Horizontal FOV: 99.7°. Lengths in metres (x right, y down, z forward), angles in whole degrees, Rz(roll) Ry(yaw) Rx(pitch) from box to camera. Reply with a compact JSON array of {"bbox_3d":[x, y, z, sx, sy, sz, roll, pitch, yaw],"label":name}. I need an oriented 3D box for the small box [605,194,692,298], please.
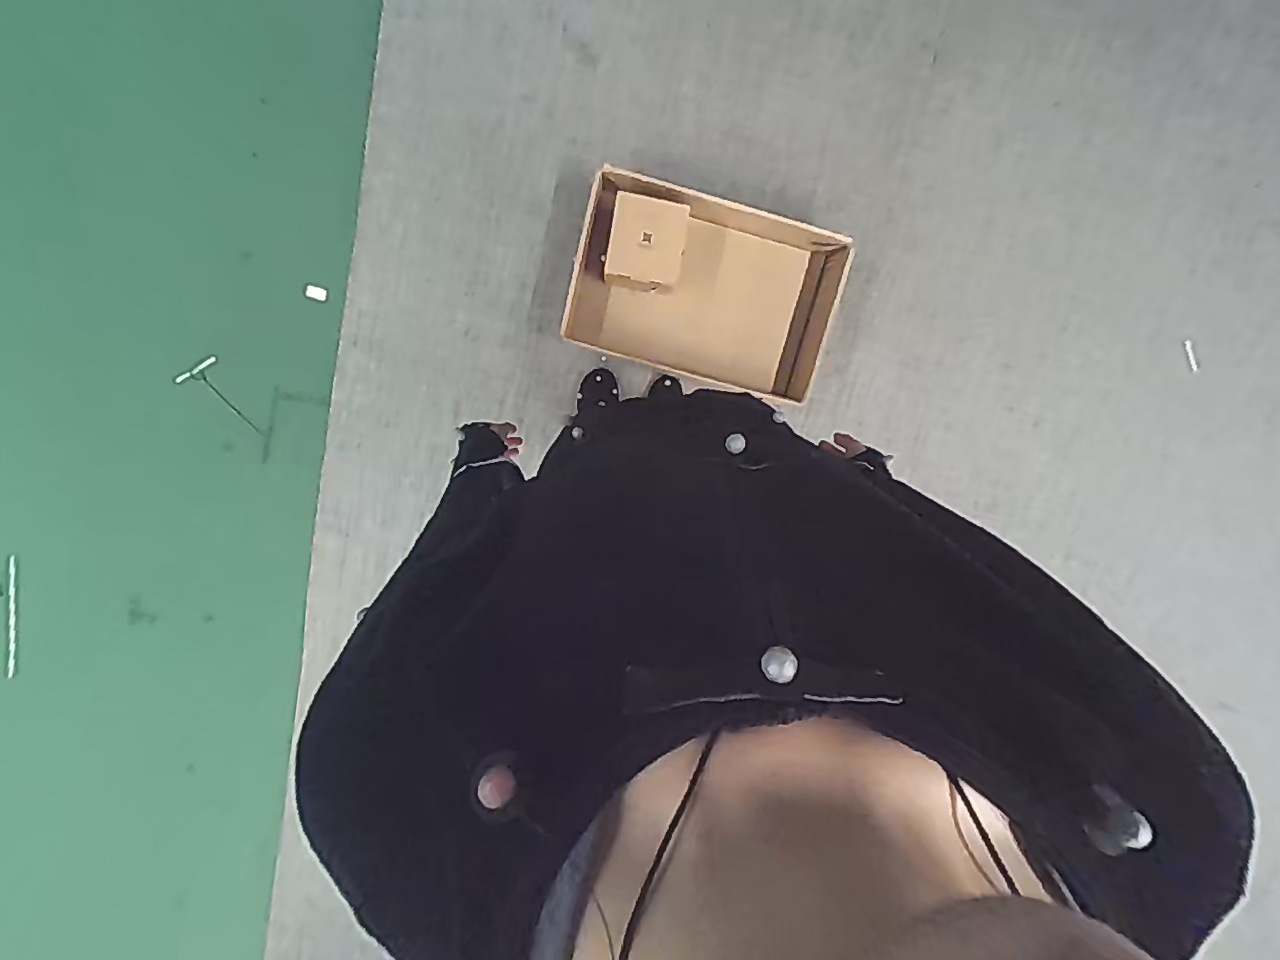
[{"bbox_3d":[0.017,-0.538,1.269,0.168,0.176,0.179,11,101,-4],"label":"small box"}]
